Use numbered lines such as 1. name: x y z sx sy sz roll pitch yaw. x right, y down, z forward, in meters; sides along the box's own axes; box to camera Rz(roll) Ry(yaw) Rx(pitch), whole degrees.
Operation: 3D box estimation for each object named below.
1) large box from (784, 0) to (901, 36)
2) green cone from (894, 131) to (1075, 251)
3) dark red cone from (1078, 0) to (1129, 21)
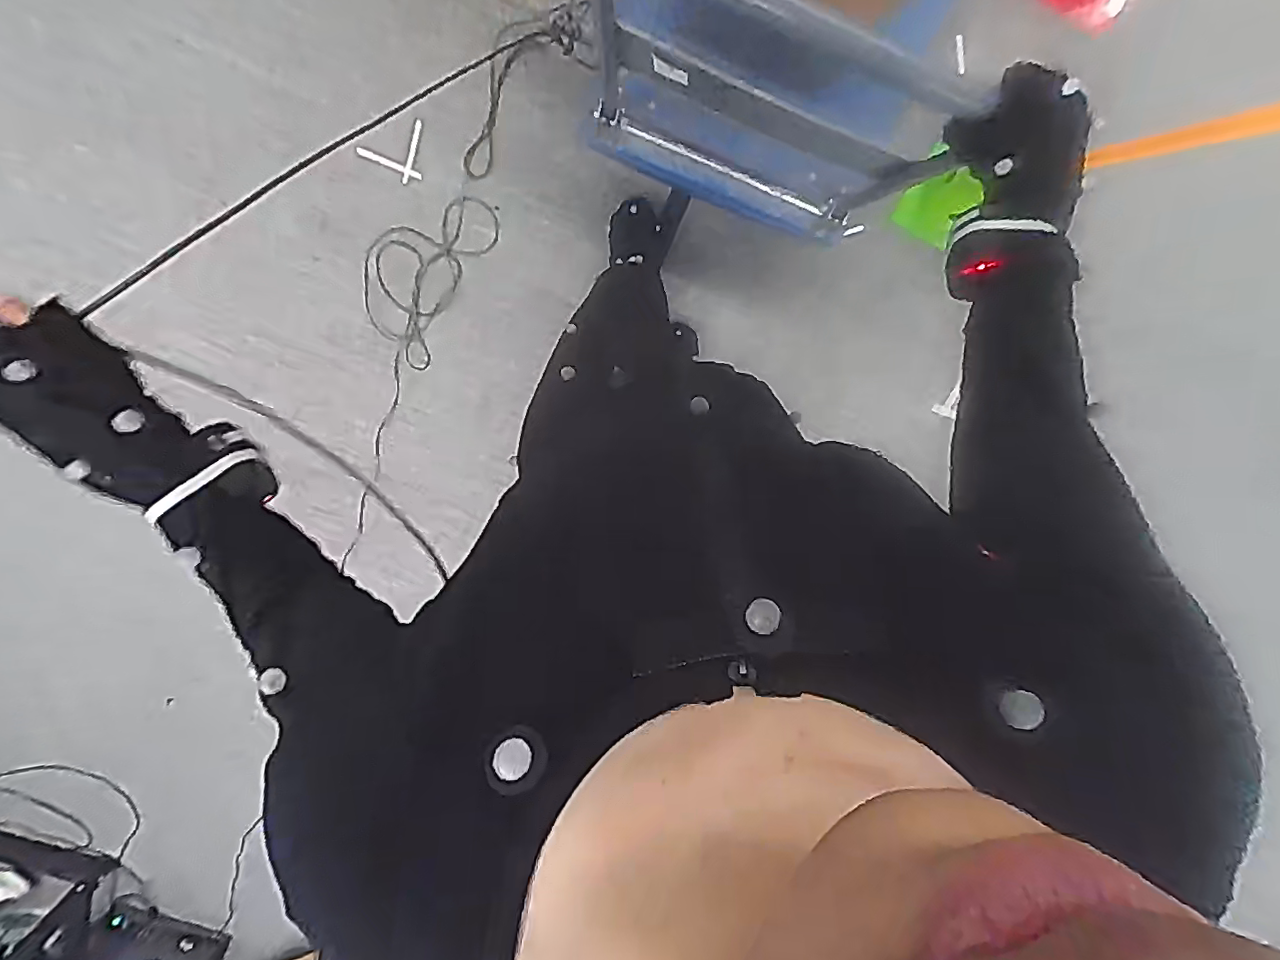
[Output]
1. large box: 0.290 -0.972 0.807 0.408 0.320 0.320 21 110 -6
2. green cone: 0.719 -0.602 1.092 0.202 0.368 0.200 26 109 -10
3. dark red cone: 0.930 -1.004 0.920 0.201 0.394 0.202 22 110 -9
